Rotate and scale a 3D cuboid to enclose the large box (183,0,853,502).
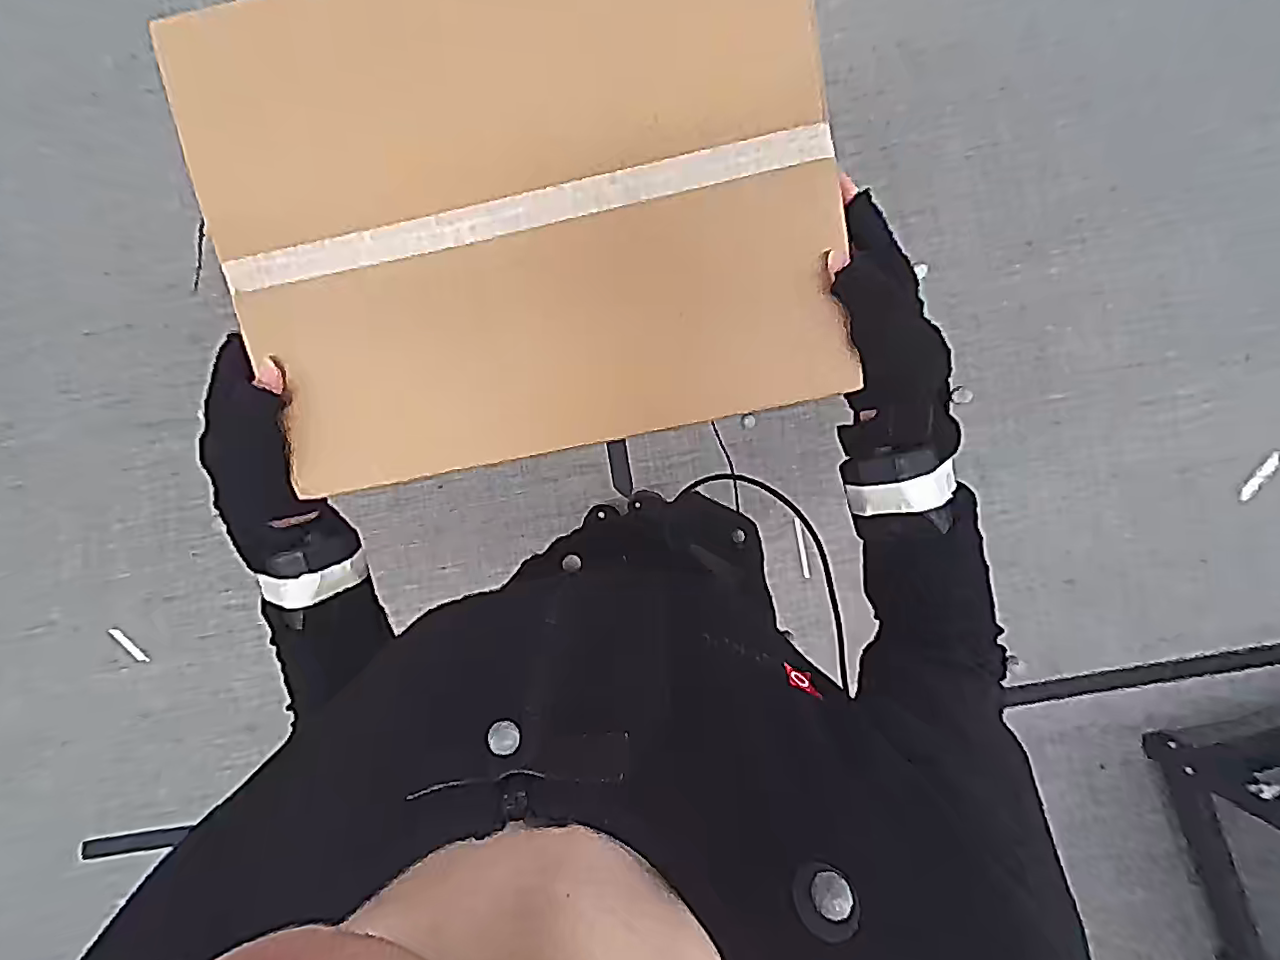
[{"bbox_3d":[-0.069,-0.196,0.509,0.408,0.320,0.320,-11,99,4],"label":"large box"}]
